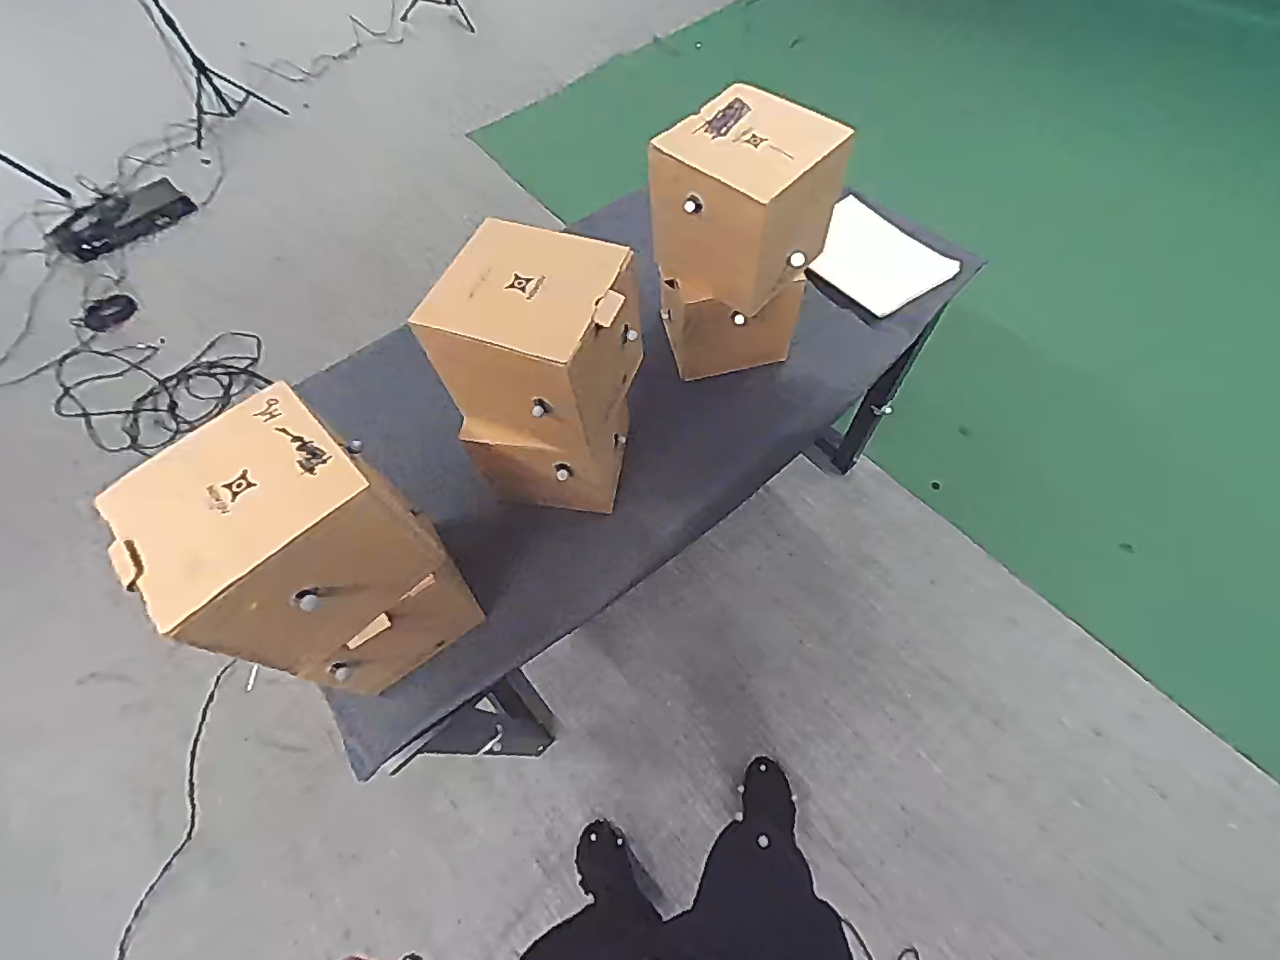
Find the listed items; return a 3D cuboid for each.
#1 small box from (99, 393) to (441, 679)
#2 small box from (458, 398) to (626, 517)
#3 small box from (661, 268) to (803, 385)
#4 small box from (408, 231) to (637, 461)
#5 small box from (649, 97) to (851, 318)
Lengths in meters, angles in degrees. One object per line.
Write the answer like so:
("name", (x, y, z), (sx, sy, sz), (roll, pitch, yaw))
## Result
("small box", (-0.327, 0.060, 0.511), (0.179, 0.176, 0.168), (-42, 65, -17))
("small box", (-0.118, -0.060, 0.748), (0.179, 0.176, 0.168), (6, 61, 7))
("small box", (0.130, -0.275, 0.847), (0.179, 0.176, 0.168), (-12, 61, -2))
("small box", (-0.111, -0.142, 0.607), (0.179, 0.176, 0.168), (16, 63, 13))
("small box", (0.132, -0.344, 0.697), (0.179, 0.176, 0.168), (39, 72, 22))
